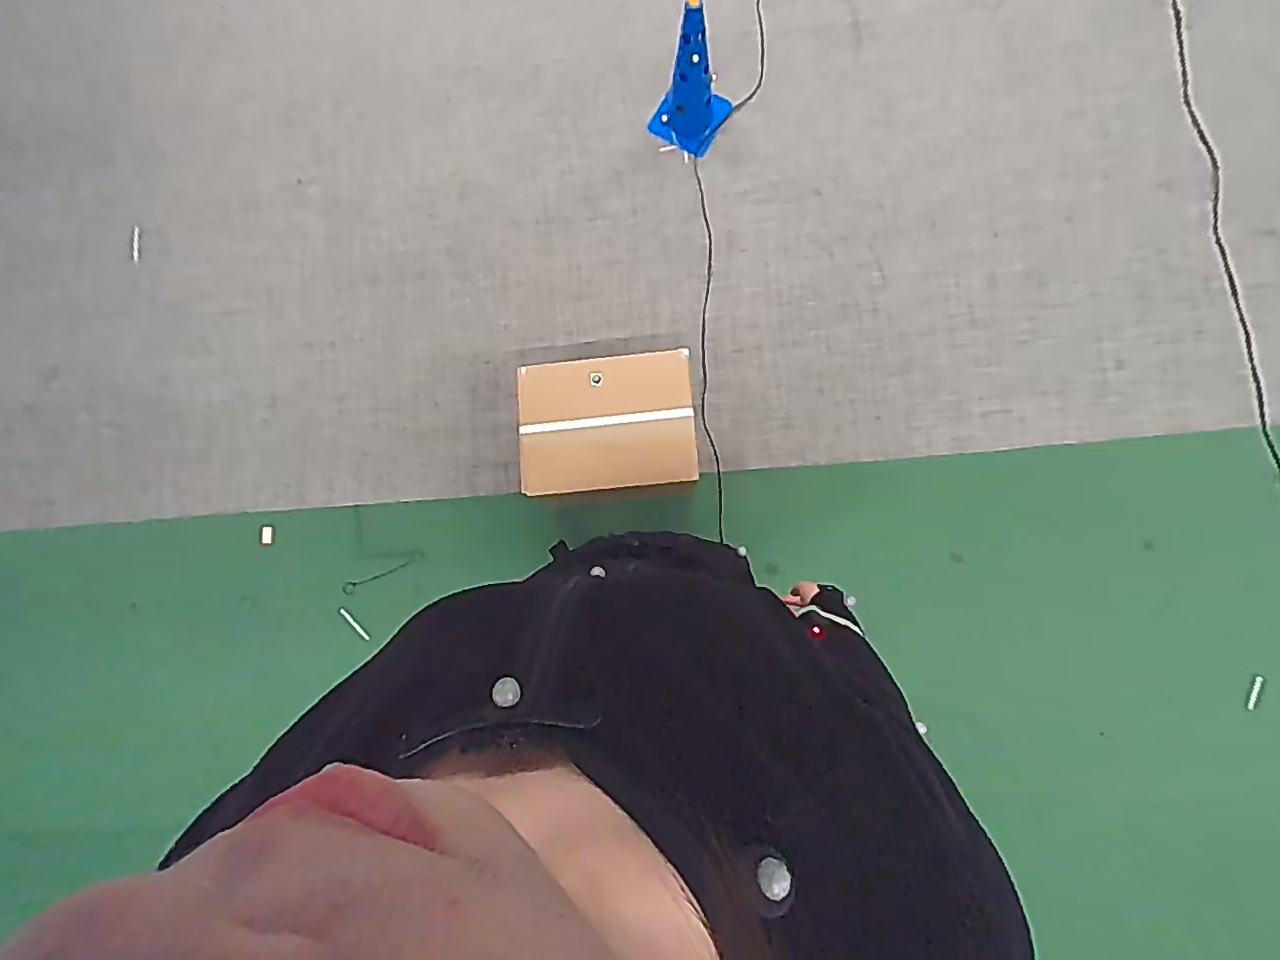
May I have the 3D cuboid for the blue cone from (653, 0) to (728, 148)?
[{"bbox_3d":[0.140,-1.107,1.445,0.192,0.380,0.193,28,88,6],"label":"blue cone"}]
